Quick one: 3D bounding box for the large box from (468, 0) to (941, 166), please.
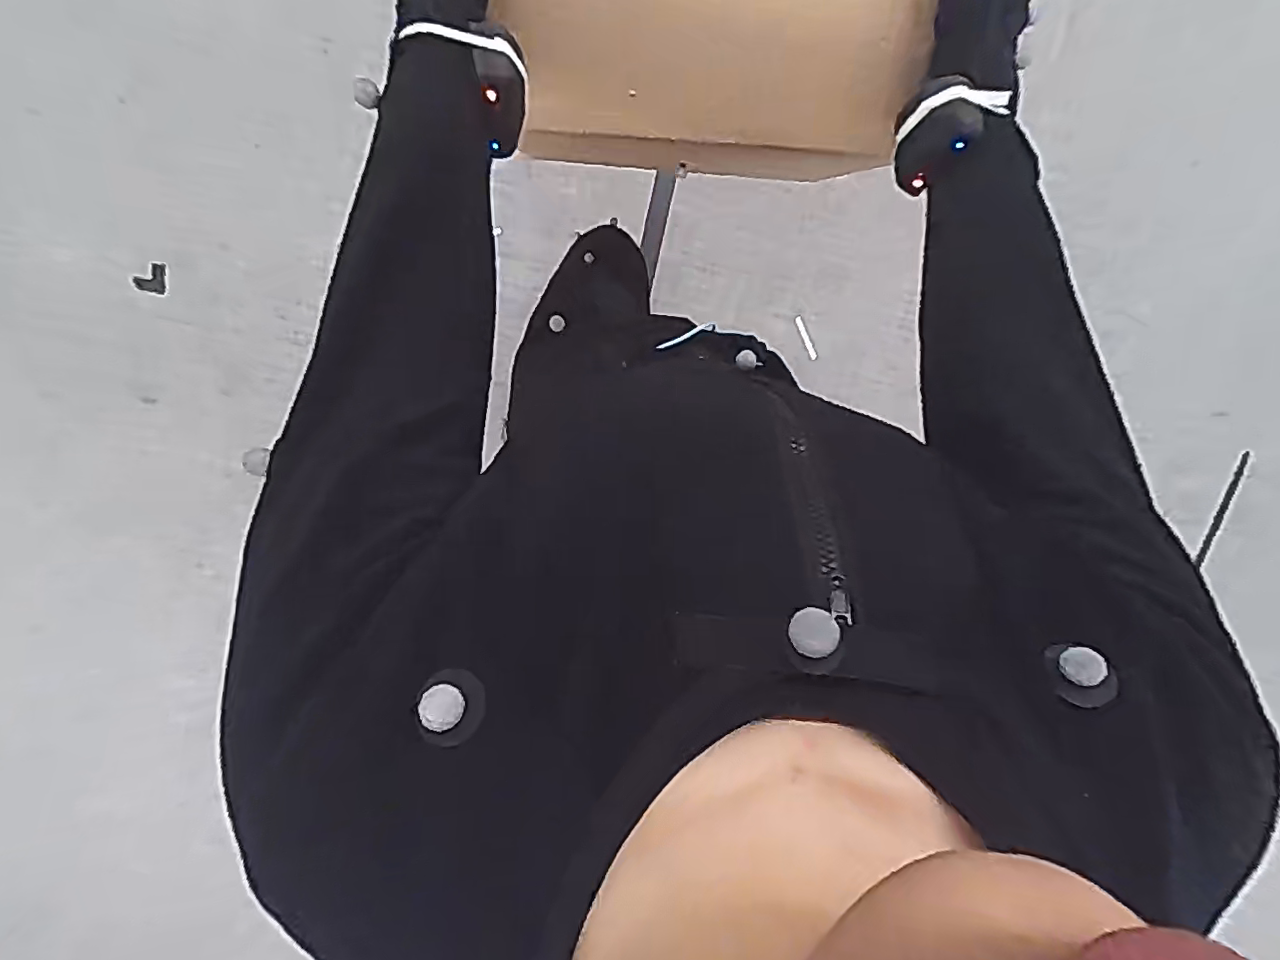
[{"bbox_3d":[0.058,-0.519,0.559,0.408,0.320,0.320,3,115,-2],"label":"large box"}]
